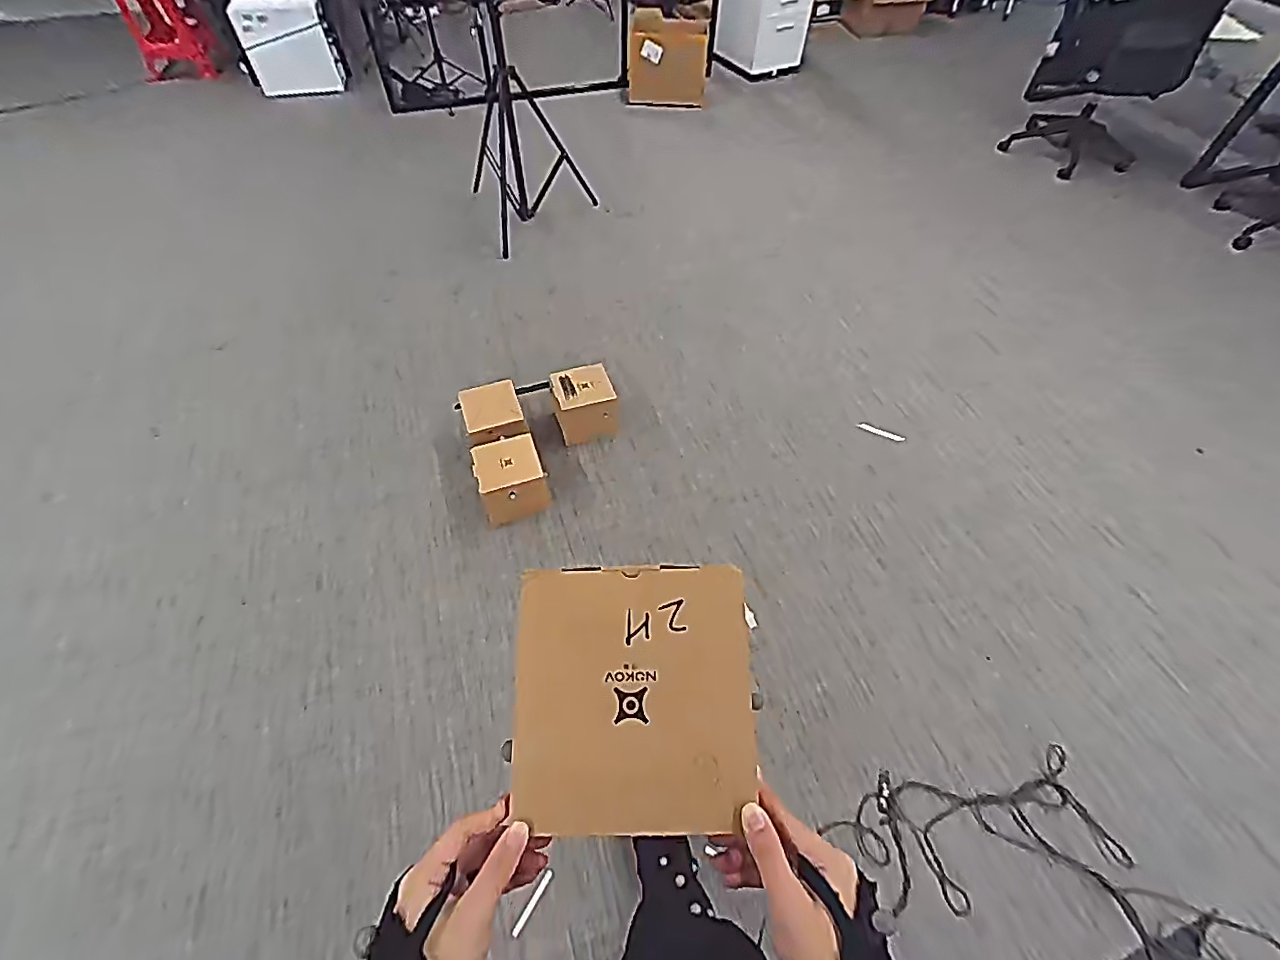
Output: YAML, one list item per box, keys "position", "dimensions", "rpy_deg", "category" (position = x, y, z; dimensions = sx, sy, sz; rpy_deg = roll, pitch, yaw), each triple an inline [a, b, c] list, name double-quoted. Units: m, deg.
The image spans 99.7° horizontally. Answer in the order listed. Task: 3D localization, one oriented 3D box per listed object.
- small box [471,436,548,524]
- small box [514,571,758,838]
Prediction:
- position: [-0.370, 0.003, 1.557]
  dimensions: [0.179, 0.176, 0.168]
  rpy_deg: [-16, 57, -12]
  category: "small box"
- position: [-0.001, 0.176, 0.456]
  dimensions: [0.168, 0.176, 0.179]
  rpy_deg: [-1, 71, 1]
  category: "small box"
